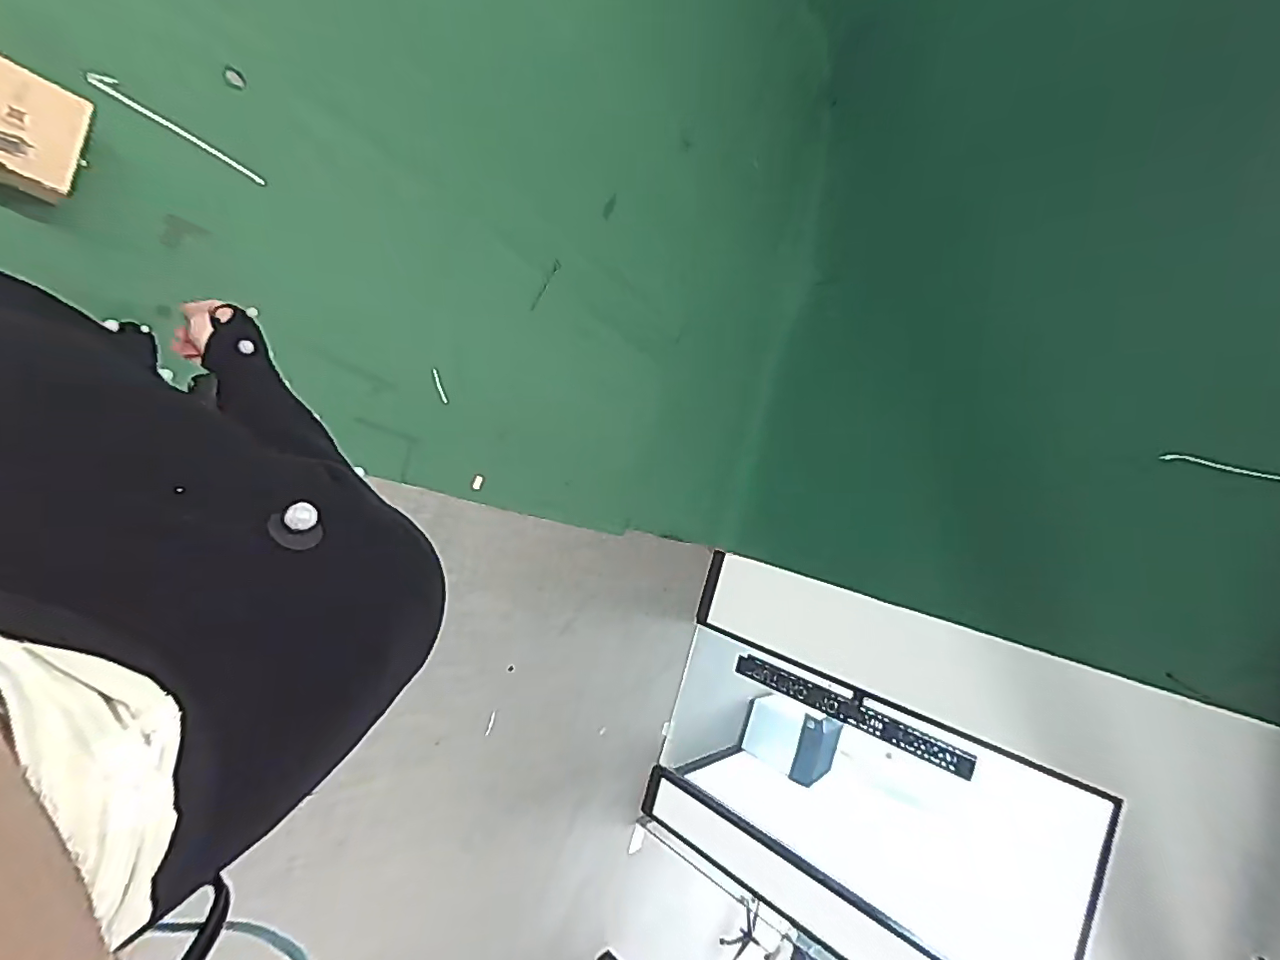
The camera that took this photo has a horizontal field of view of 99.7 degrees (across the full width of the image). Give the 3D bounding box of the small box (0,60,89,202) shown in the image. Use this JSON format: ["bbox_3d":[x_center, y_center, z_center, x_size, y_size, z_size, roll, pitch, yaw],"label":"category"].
[{"bbox_3d":[-1.134,-0.629,0.970,0.168,0.176,0.179,17,87,-52],"label":"small box"}]
